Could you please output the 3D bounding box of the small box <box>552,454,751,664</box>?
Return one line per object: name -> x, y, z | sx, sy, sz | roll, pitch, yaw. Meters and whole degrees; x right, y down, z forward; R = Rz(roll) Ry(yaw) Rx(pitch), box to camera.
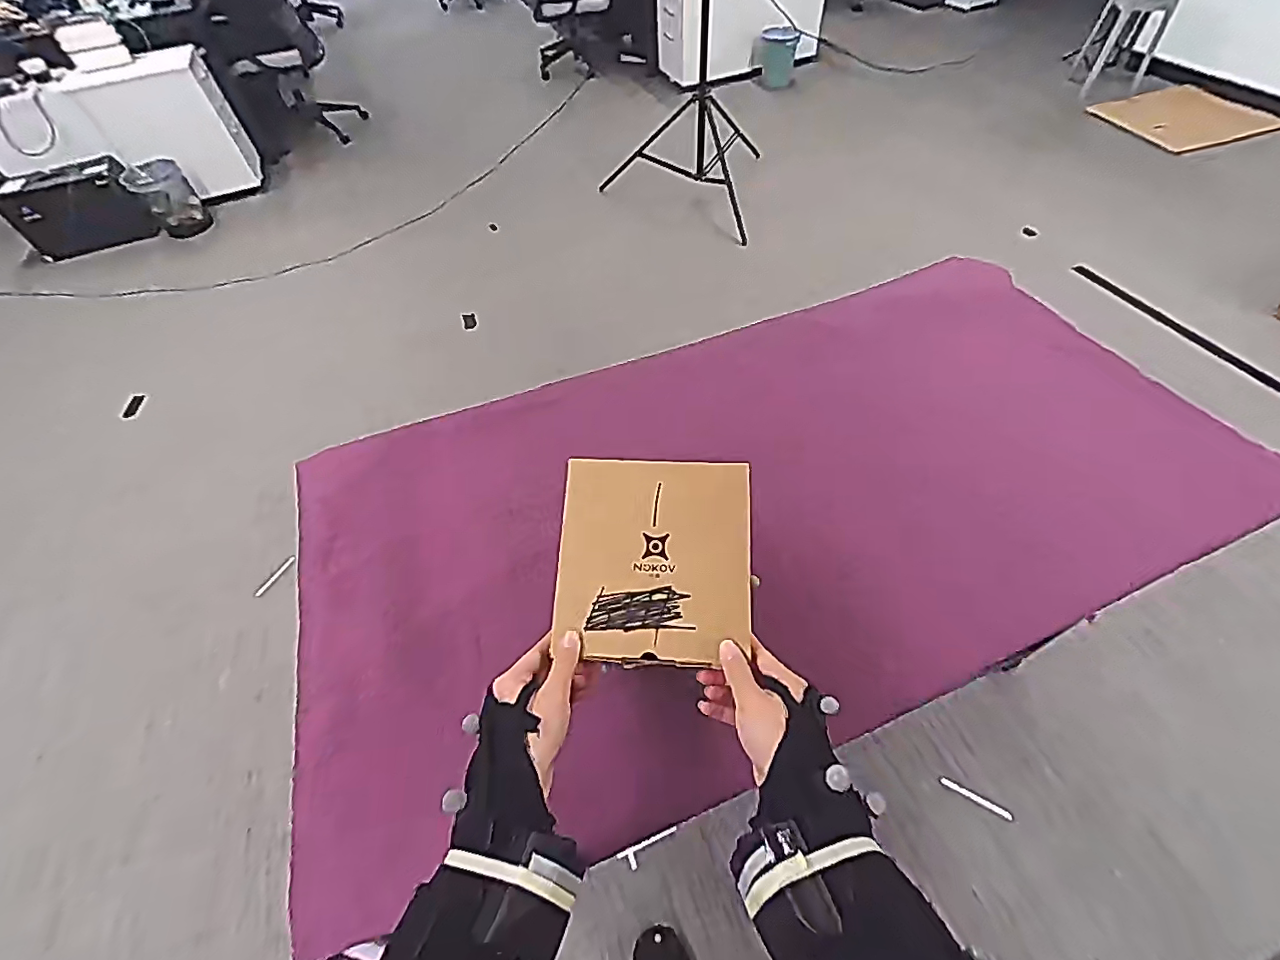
small box -> 0.018, 0.086, 0.541 | 0.168, 0.176, 0.179 | 2, 71, 4
